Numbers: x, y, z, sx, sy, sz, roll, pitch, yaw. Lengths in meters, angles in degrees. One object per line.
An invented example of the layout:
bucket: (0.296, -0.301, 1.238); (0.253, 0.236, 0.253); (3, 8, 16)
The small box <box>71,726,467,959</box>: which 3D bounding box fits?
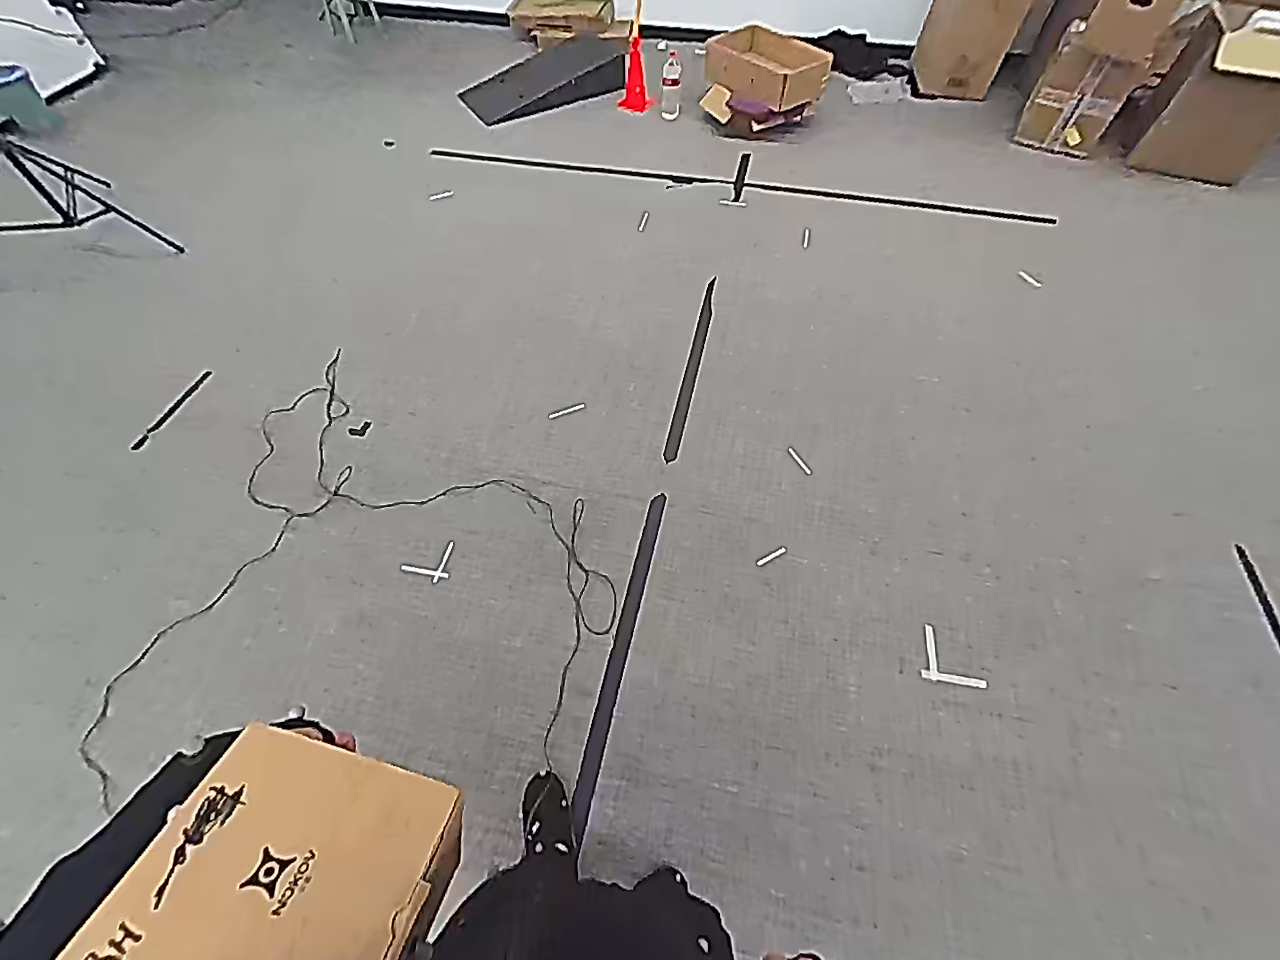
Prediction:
small box: (-0.252, 0.326, 0.410); (0.179, 0.176, 0.168); (19, 38, 1)
